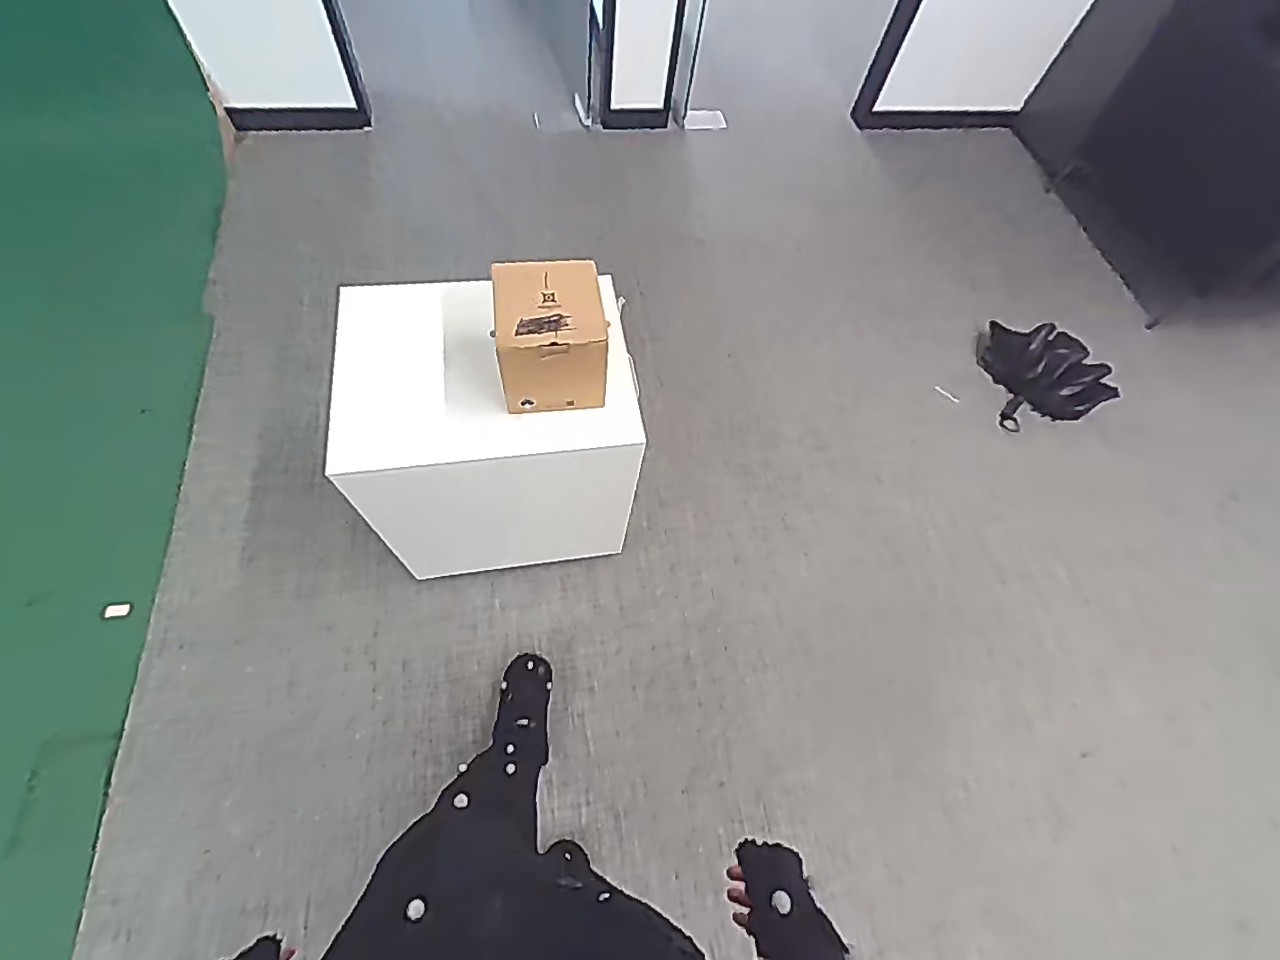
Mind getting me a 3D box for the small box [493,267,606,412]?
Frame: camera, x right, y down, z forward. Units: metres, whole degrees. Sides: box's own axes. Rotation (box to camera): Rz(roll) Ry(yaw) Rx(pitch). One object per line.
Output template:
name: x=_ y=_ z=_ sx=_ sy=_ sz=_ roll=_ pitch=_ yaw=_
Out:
small box: x=-0.148 y=-0.227 z=0.905 sx=0.168 sy=0.176 sz=0.179 roll=-6 pitch=62 yaw=-9
